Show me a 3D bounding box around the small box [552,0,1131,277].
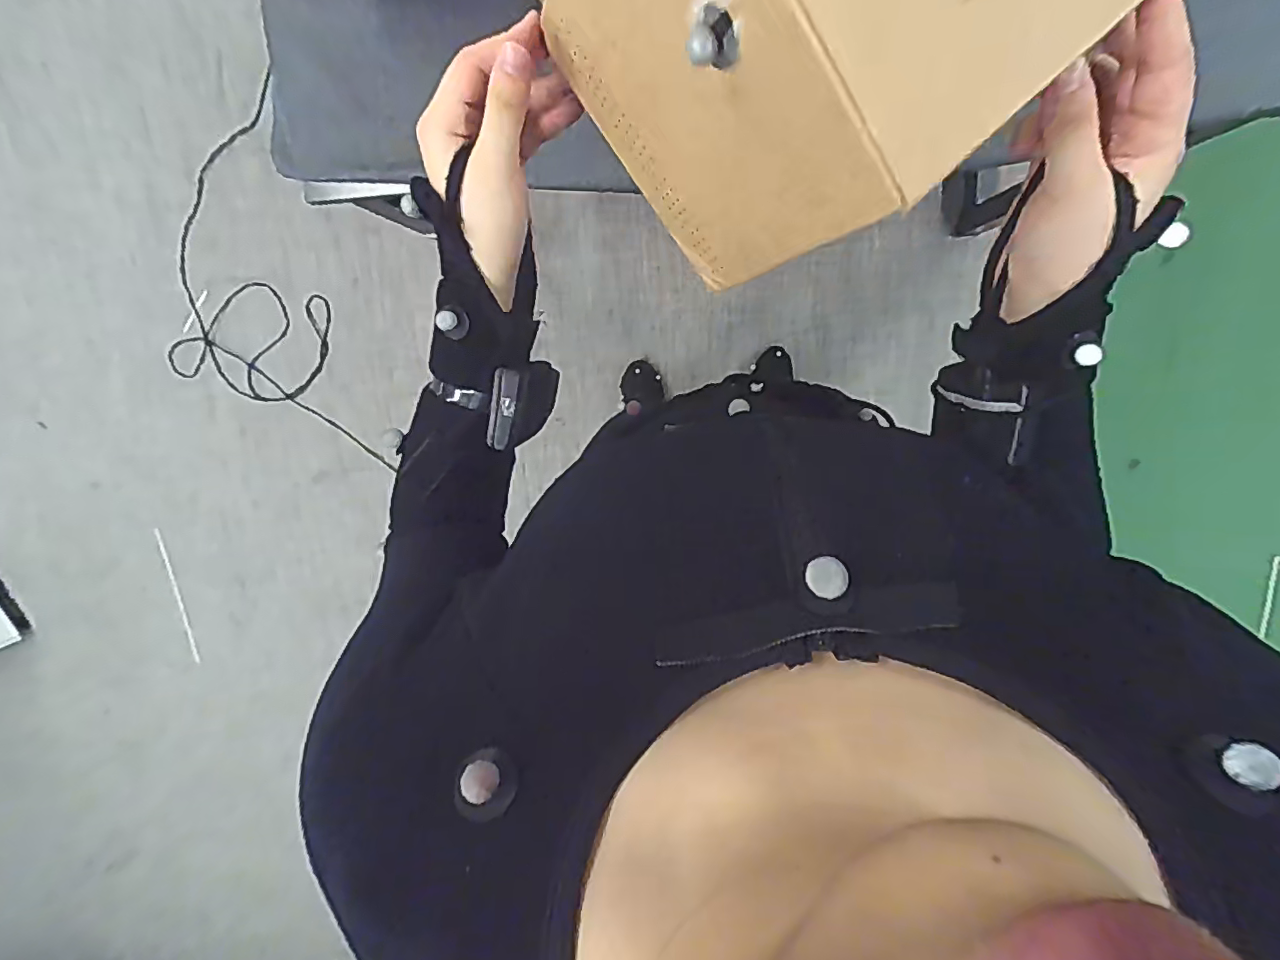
[{"bbox_3d":[0.078,-0.228,0.261,0.168,0.176,0.179,-42,109,-6],"label":"small box"}]
